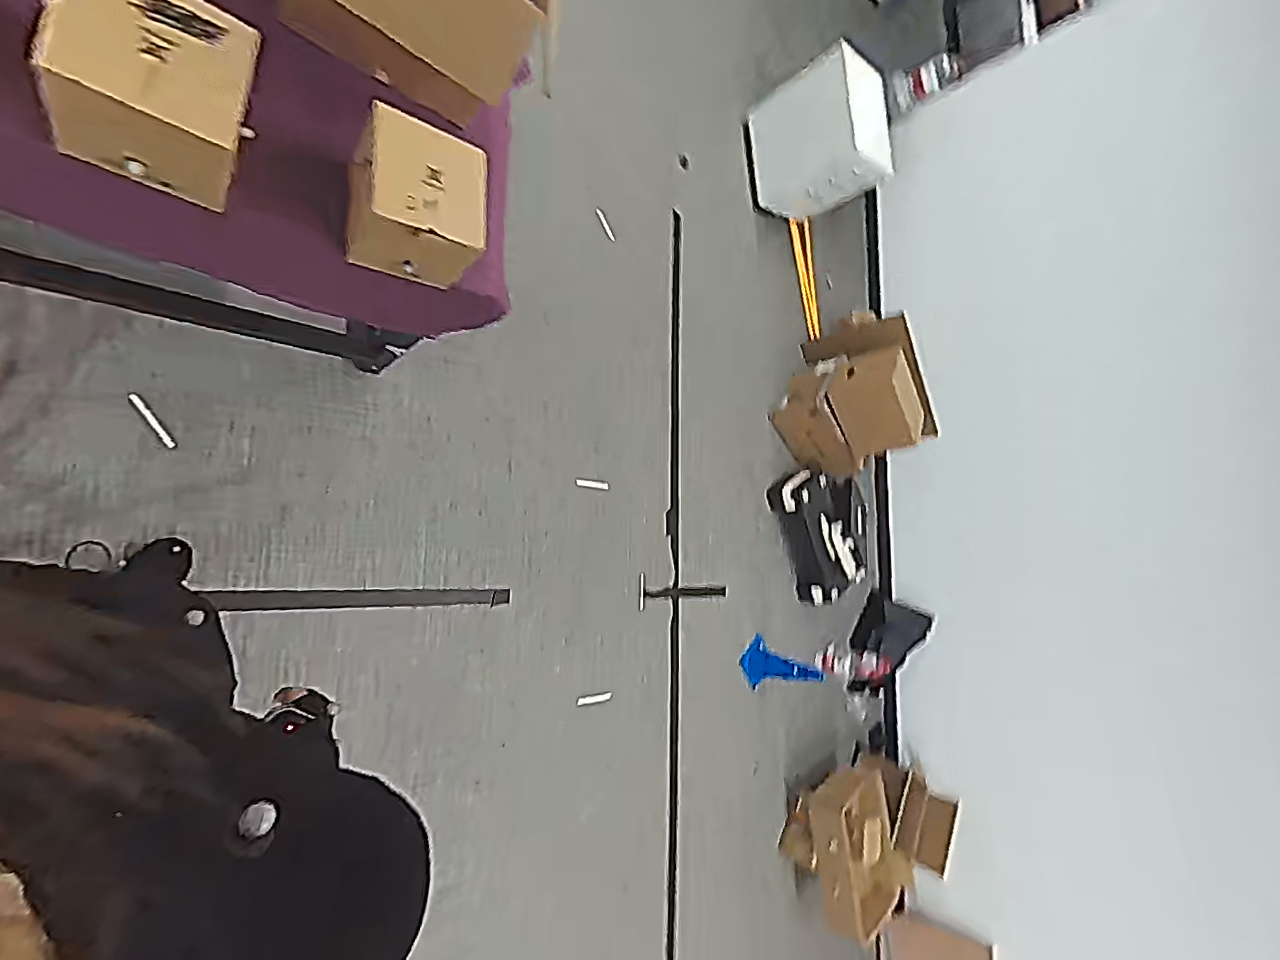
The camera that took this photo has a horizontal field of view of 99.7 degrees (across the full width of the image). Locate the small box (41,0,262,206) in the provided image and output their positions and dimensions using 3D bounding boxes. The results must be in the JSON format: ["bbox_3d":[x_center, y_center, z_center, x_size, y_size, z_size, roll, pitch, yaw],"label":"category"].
[{"bbox_3d":[-0.599,-0.490,0.677,0.168,0.176,0.179,12,78,-40],"label":"small box"}]

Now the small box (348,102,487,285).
[{"bbox_3d":[-0.364,-0.448,0.880,0.168,0.176,0.179,5,82,-40],"label":"small box"}]
